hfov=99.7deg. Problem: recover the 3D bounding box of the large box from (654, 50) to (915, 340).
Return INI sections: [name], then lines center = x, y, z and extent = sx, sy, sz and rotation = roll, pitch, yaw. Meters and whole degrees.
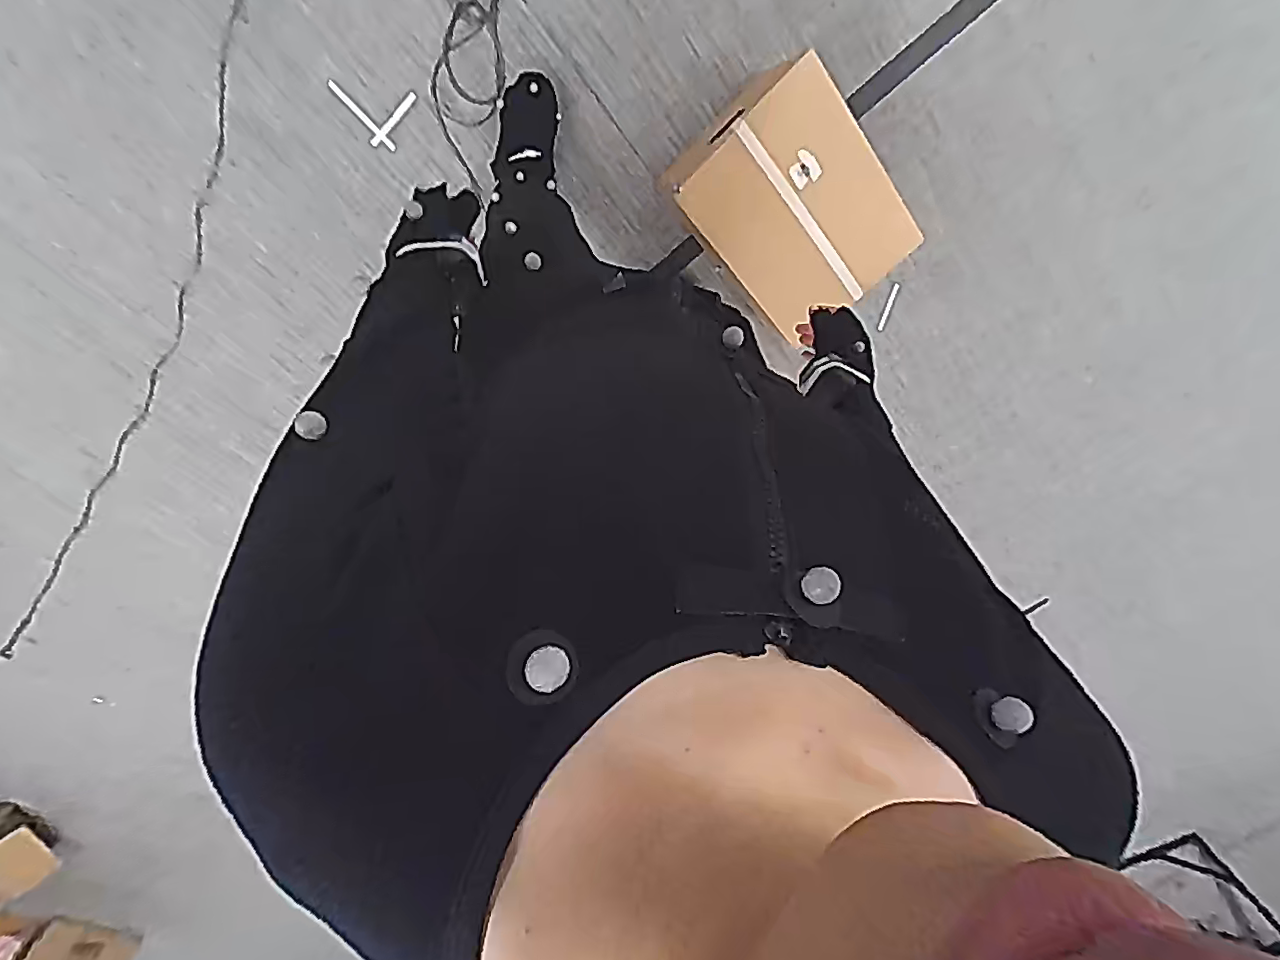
[large box]
center = 0.282, -0.578, 1.145
extent = 0.320, 0.320, 0.408
rotation = -41, 115, 17
